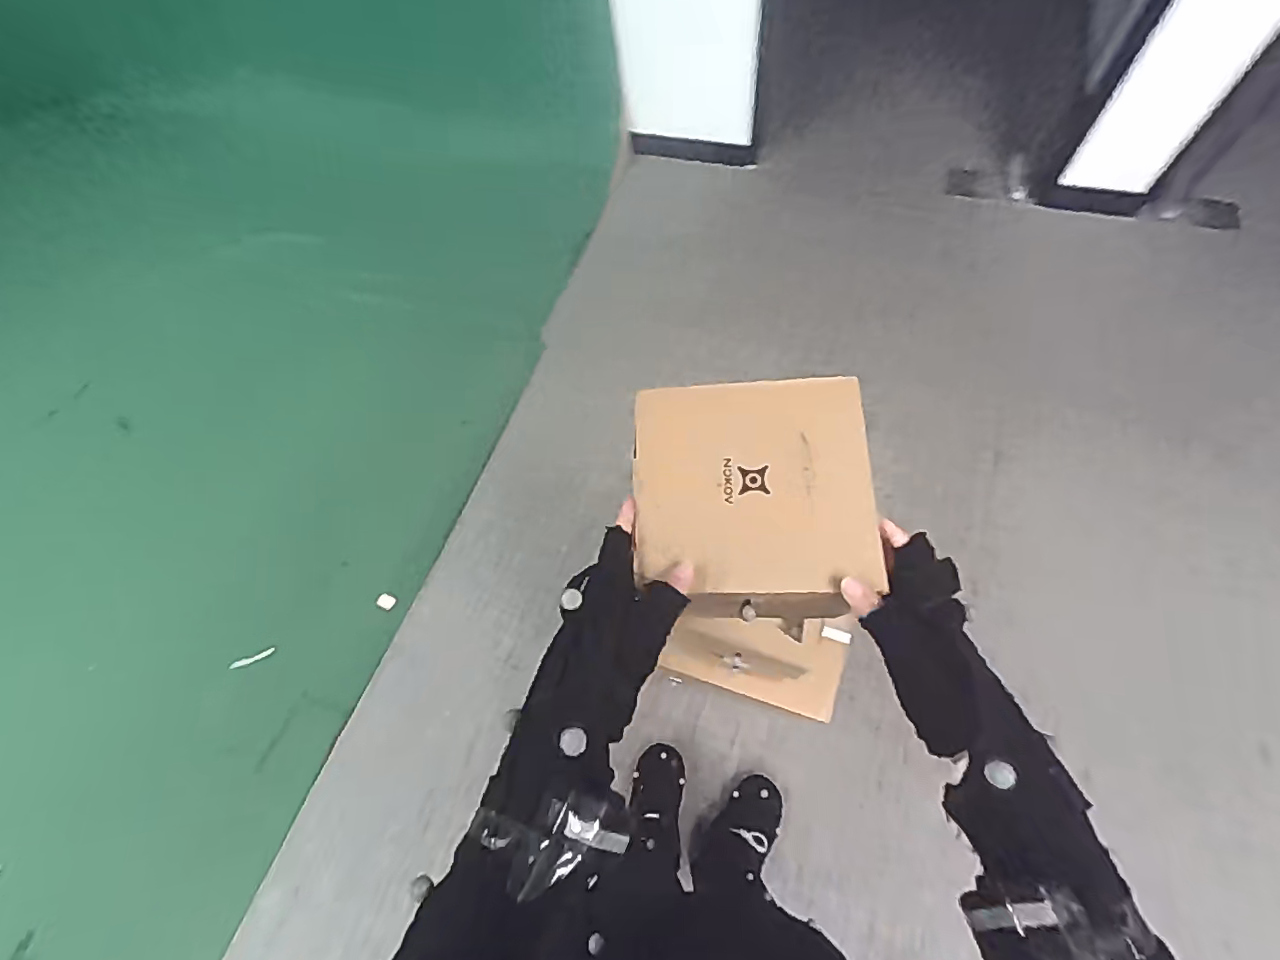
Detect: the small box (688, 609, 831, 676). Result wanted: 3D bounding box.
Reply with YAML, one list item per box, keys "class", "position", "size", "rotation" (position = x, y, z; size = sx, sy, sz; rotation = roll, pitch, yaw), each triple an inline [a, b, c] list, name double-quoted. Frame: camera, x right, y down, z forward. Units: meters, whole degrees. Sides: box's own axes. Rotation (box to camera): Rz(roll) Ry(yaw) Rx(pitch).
- class: "small box"
  position: [0.178, 0.184, 0.803]
  size: [0.179, 0.176, 0.168]
  rotation: [13, 69, 12]

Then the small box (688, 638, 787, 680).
- class: "small box"
  position: [0.192, 0.243, 0.957]
  size: [0.168, 0.176, 0.179]
  rotation: [14, 70, 14]

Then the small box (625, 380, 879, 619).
- class: "small box"
  position: [0.087, 0.030, 0.473]
  size: [0.179, 0.176, 0.168]
  rotation: [-3, 71, 7]
